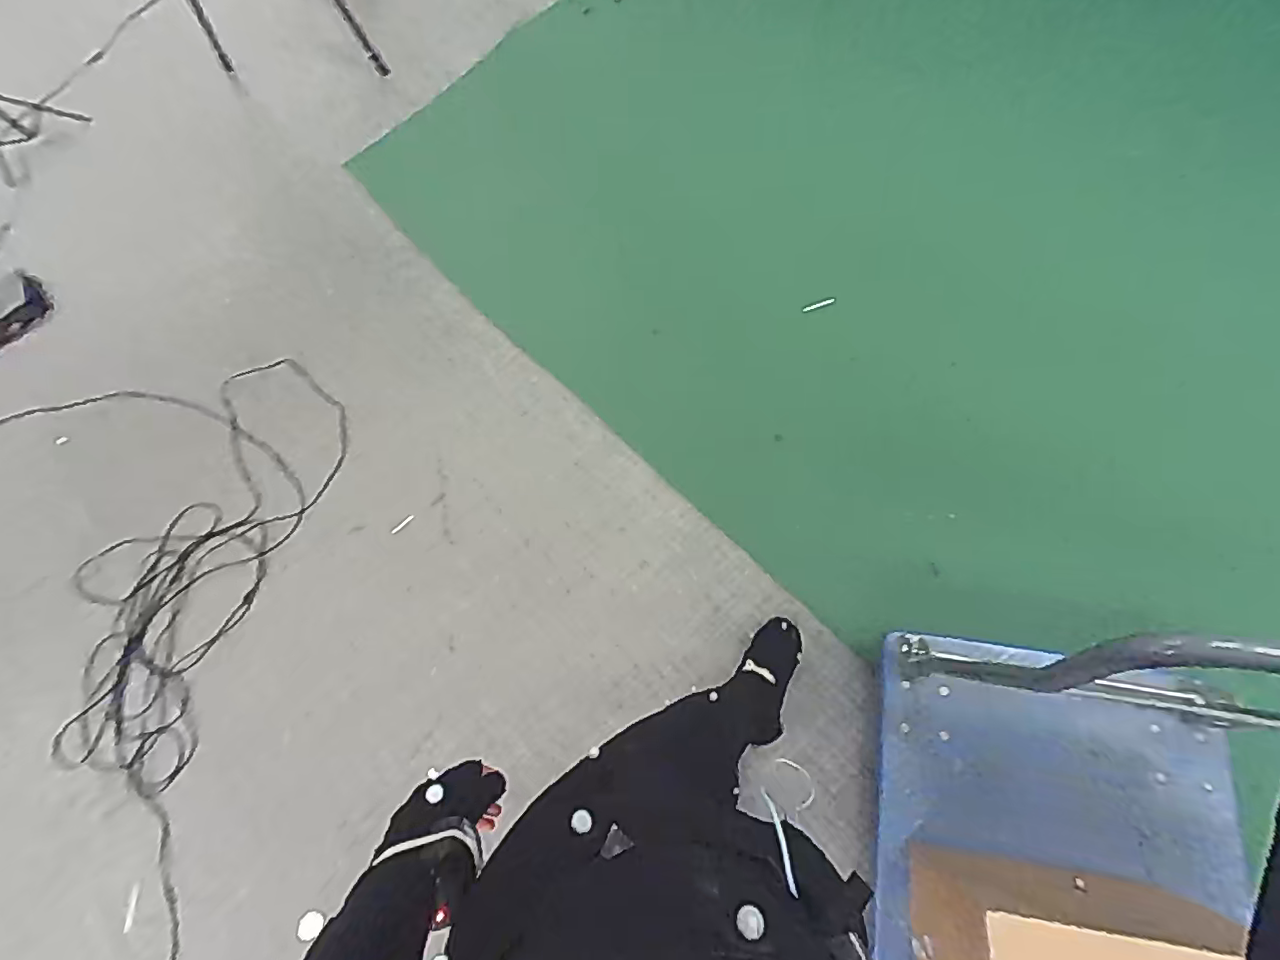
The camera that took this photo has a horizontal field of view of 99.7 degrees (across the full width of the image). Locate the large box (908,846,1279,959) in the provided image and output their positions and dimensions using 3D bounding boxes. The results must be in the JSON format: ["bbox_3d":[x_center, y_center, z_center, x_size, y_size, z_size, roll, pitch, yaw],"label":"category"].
[{"bbox_3d":[0.640,0.755,0.754,0.408,0.320,0.320,4,72,9],"label":"large box"}]
